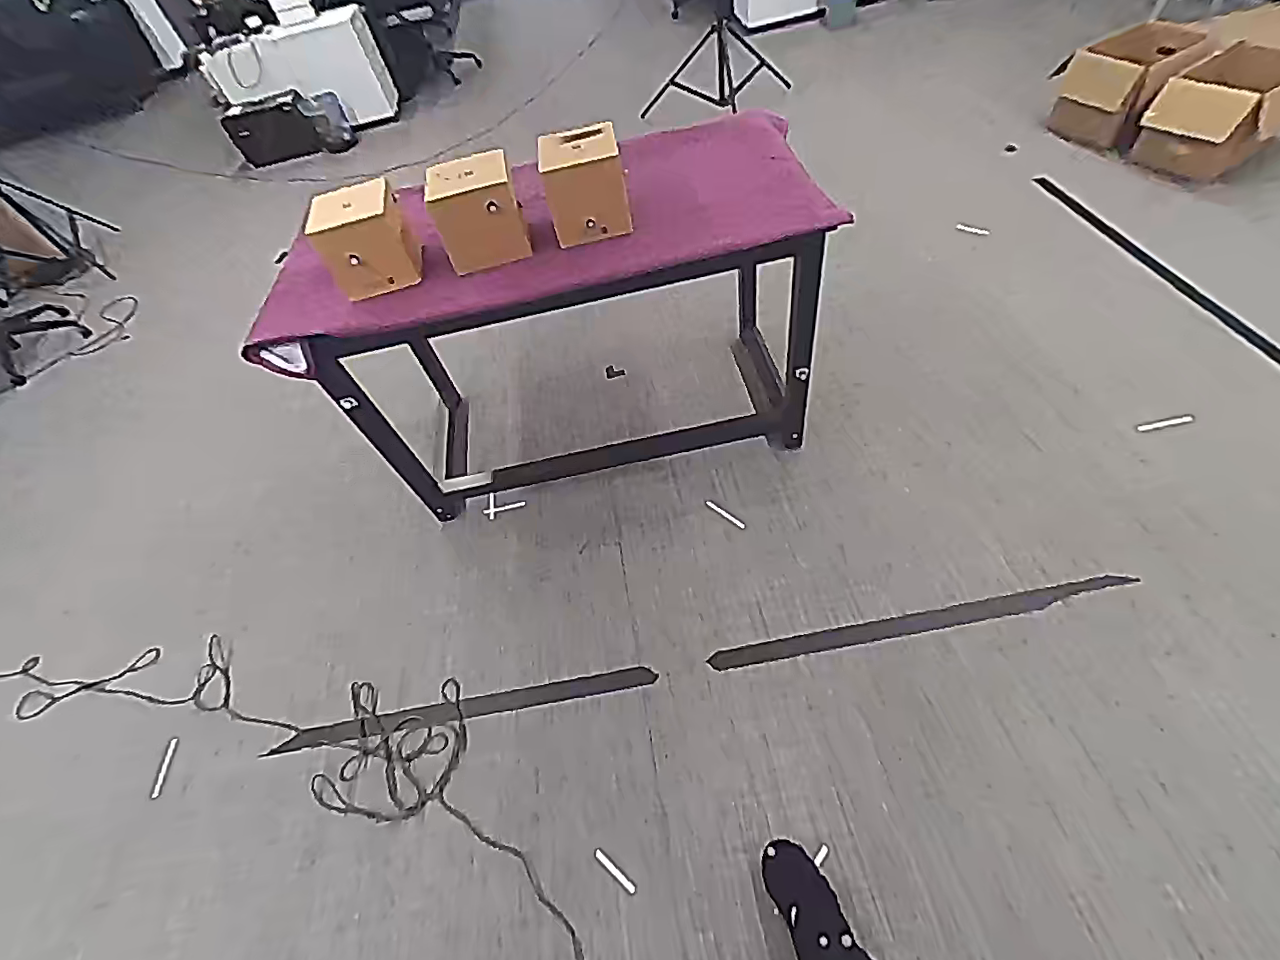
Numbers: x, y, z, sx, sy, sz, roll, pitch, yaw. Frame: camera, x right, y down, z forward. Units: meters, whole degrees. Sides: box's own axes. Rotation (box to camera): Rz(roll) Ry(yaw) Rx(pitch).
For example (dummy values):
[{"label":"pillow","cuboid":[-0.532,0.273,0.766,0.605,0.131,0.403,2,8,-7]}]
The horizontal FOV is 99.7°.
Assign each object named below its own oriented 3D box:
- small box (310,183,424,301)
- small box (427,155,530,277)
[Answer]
[{"label":"small box","cuboid":[-0.600,-0.523,1.210,0.168,0.176,0.179,-18,52,-2]},{"label":"small box","cuboid":[-0.350,-0.581,1.200,0.179,0.176,0.168,-15,52,-1]}]
